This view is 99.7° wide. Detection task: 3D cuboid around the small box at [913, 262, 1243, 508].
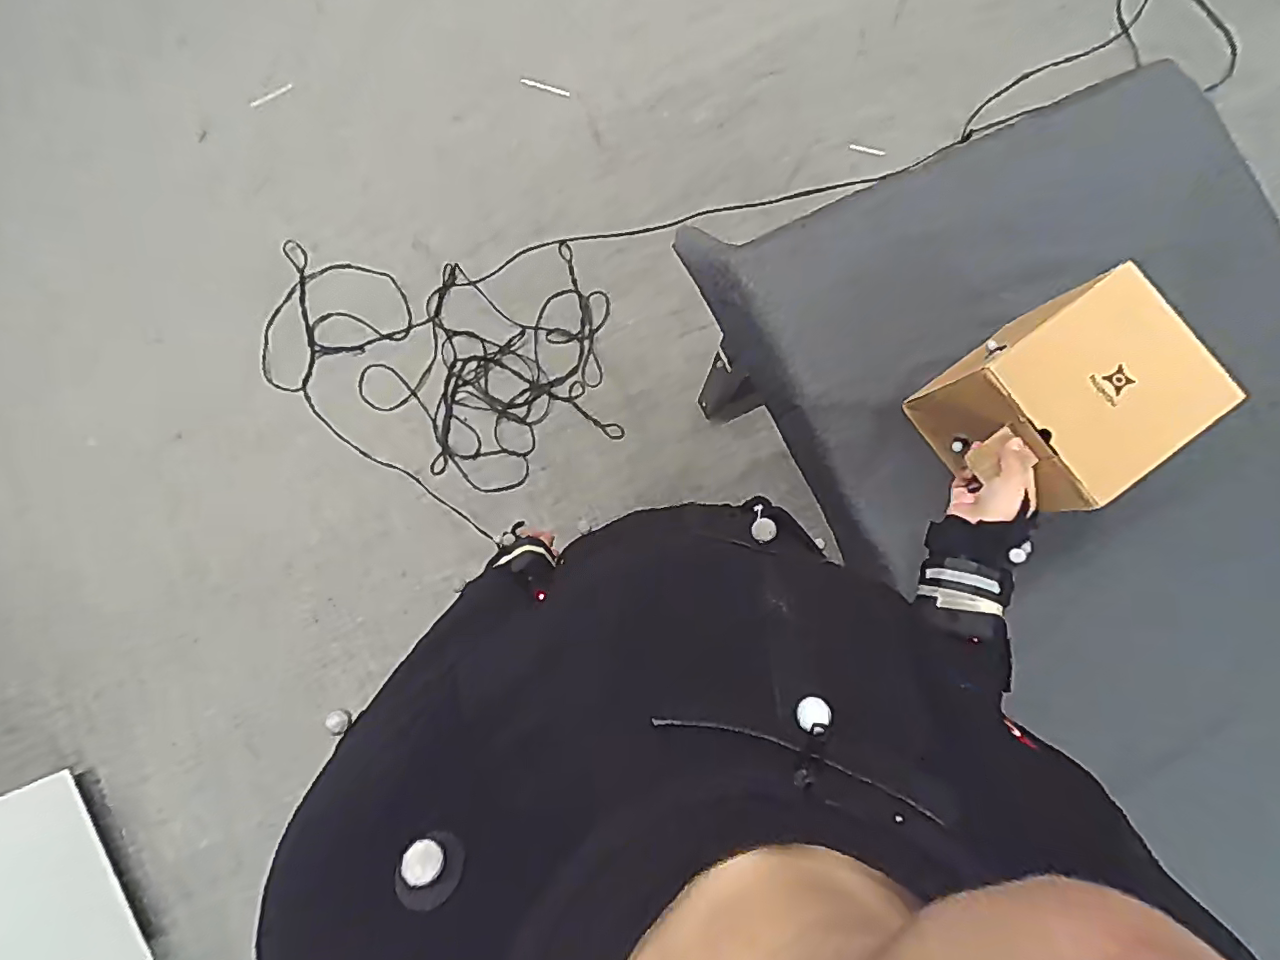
[{"bbox_3d":[0.439,-0.086,0.576,0.179,0.176,0.168,-37,87,-2],"label":"small box"}]
